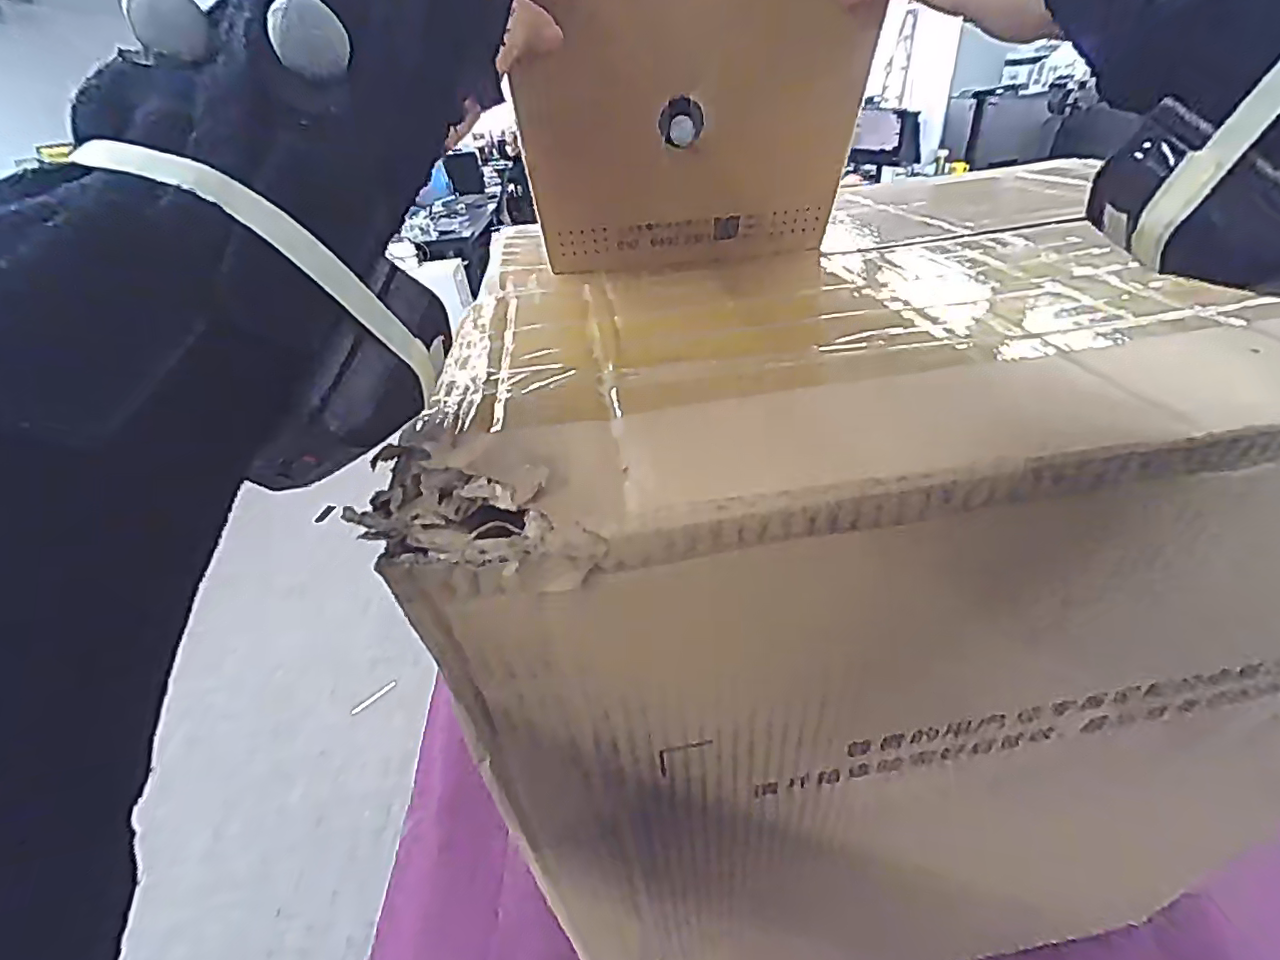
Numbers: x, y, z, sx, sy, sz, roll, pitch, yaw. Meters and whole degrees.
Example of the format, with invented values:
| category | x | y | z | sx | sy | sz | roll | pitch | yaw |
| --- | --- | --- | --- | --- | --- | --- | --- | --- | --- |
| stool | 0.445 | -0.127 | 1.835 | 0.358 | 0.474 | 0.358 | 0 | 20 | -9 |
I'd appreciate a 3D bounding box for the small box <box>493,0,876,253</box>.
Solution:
| category | x | y | z | sx | sy | sz | roll | pitch | yaw |
| --- | --- | --- | --- | --- | --- | --- | --- | --- | --- |
| small box | 0.019 | -0.246 | 0.298 | 0.168 | 0.176 | 0.179 | -5 | 59 | -1 |
